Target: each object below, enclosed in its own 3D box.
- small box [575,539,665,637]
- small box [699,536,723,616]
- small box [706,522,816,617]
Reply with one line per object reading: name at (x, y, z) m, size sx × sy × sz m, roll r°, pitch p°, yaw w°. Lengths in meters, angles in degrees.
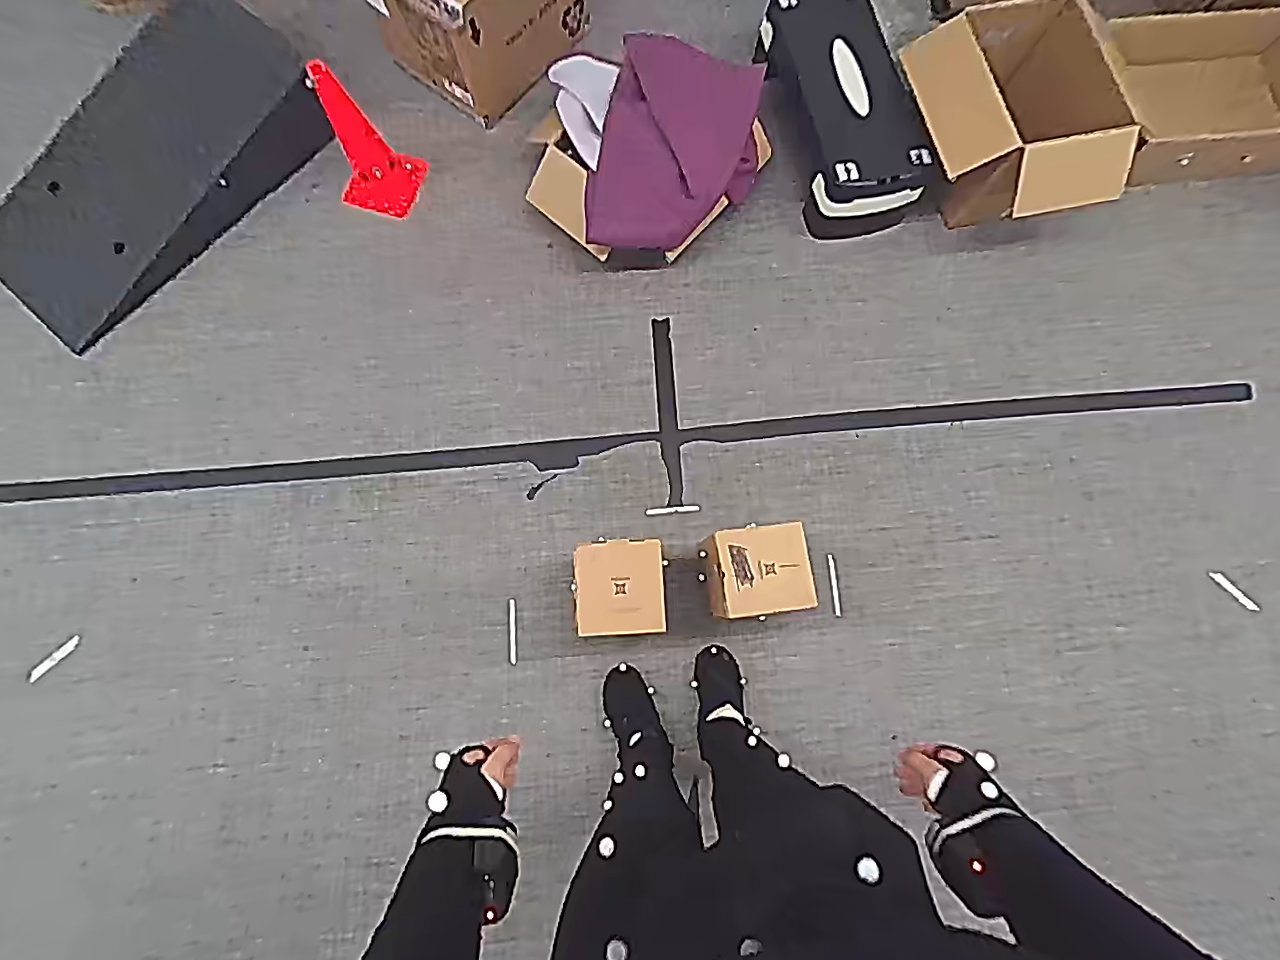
small box at (-0.040, 0.216, 1.090) m, size 0.168 × 0.176 × 0.179 m, roll -3°, pitch 80°, yaw -1°
small box at (0.236, 0.216, 1.264) m, size 0.168 × 0.176 × 0.179 m, roll -7°, pitch 79°, yaw -3°
small box at (0.233, 0.186, 1.101) m, size 0.179 × 0.176 × 0.168 m, roll -6°, pitch 78°, yaw -3°
